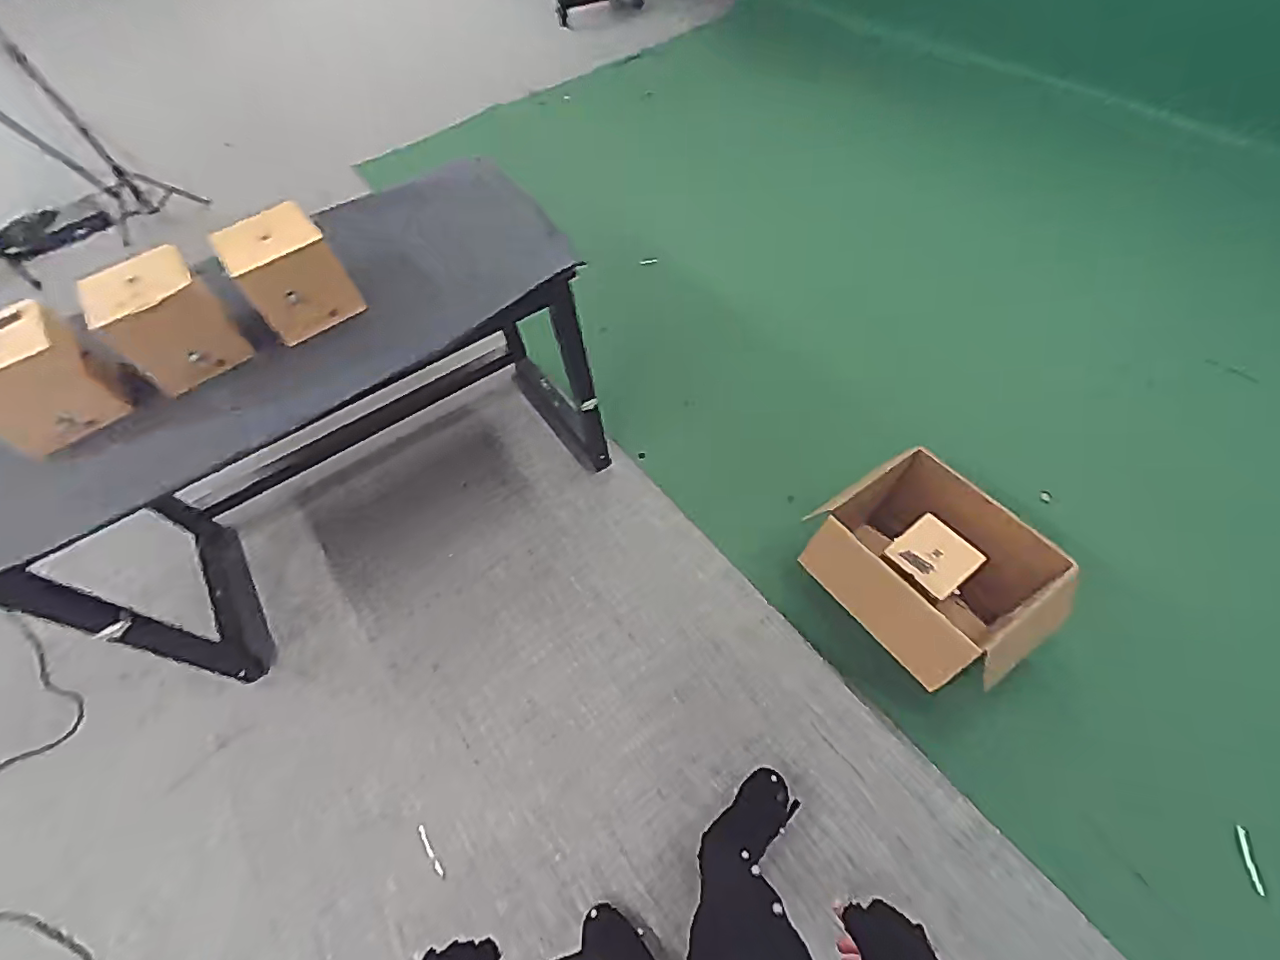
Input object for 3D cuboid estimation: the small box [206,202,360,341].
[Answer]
[{"bbox_3d":[-0.688,-0.400,1.058,0.168,0.176,0.179,-36,60,-17],"label":"small box"}]
